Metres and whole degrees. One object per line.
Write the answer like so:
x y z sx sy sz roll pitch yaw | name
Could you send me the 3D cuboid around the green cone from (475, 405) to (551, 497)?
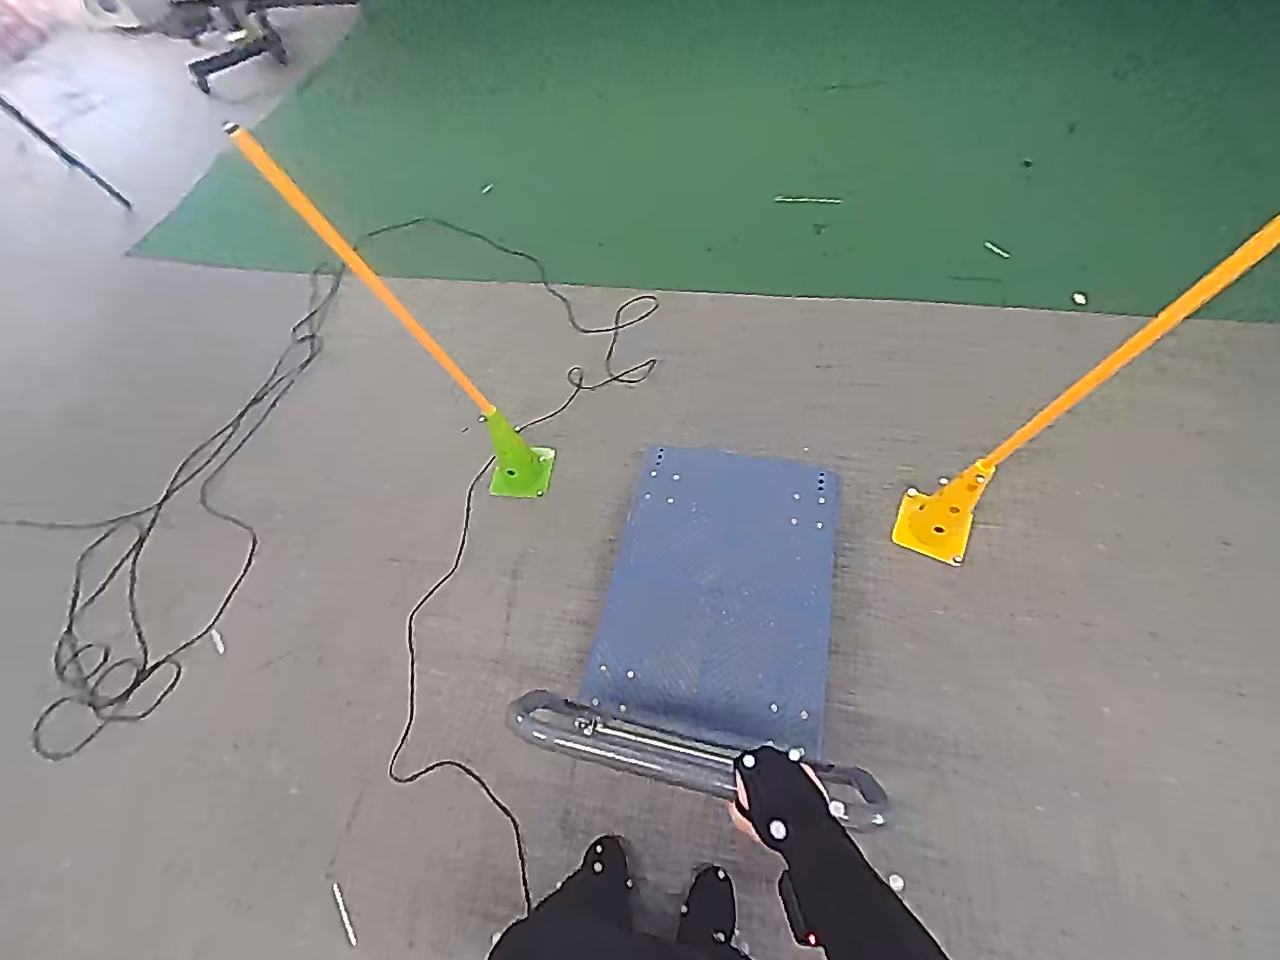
-0.437 -0.117 1.730 0.202 0.368 0.200 2 60 9 | green cone
